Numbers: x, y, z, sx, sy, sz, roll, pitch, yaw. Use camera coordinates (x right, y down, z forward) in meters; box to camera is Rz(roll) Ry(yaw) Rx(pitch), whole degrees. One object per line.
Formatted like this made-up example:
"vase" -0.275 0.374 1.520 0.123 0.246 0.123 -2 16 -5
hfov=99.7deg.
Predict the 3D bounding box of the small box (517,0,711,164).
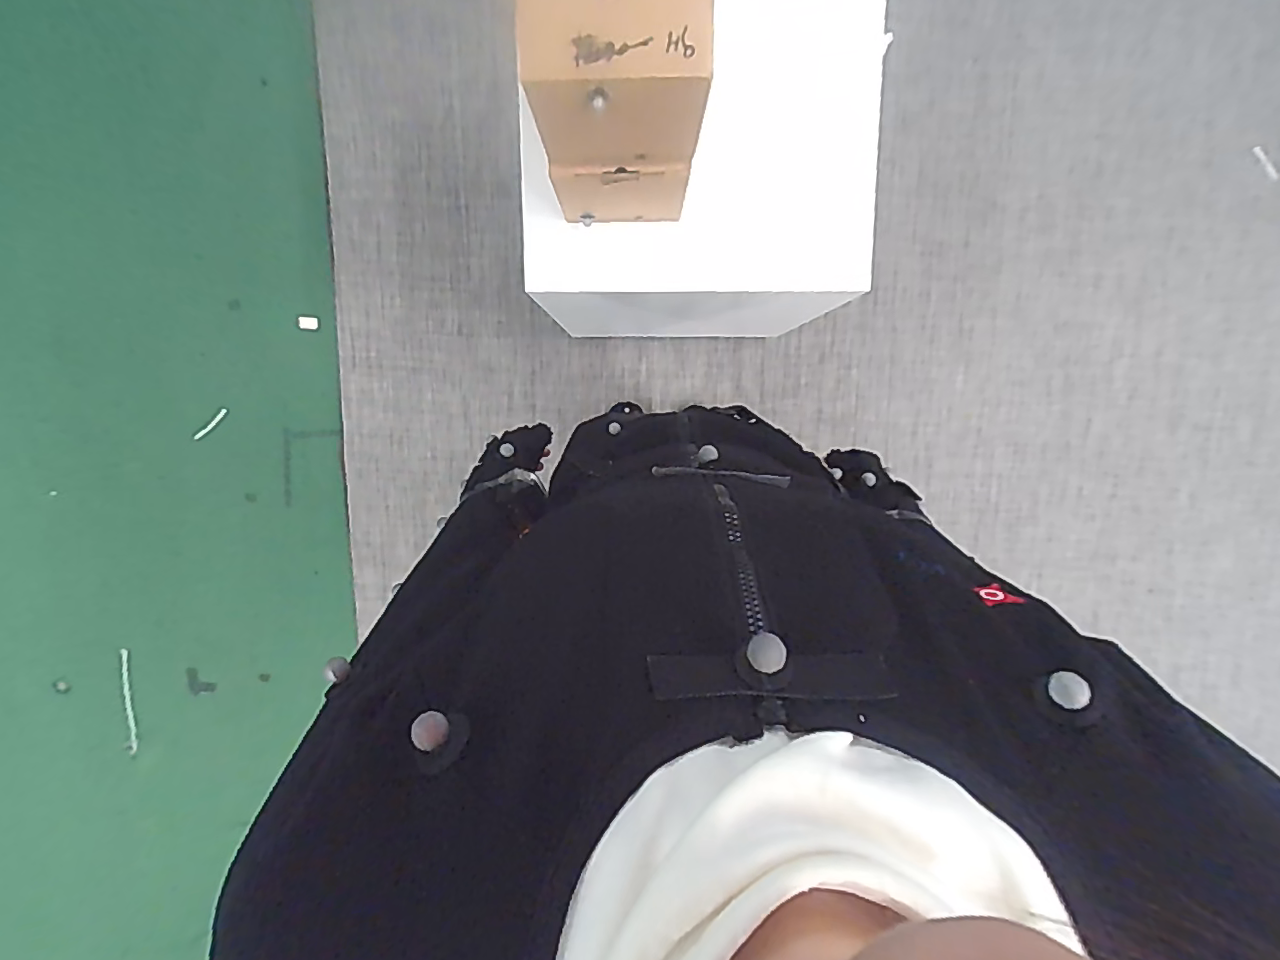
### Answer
"small box" -0.022 -0.439 0.528 0.168 0.176 0.179 -1 97 1

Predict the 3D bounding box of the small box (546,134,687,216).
"small box" -0.026 -0.451 0.691 0.168 0.176 0.179 -1 97 0
